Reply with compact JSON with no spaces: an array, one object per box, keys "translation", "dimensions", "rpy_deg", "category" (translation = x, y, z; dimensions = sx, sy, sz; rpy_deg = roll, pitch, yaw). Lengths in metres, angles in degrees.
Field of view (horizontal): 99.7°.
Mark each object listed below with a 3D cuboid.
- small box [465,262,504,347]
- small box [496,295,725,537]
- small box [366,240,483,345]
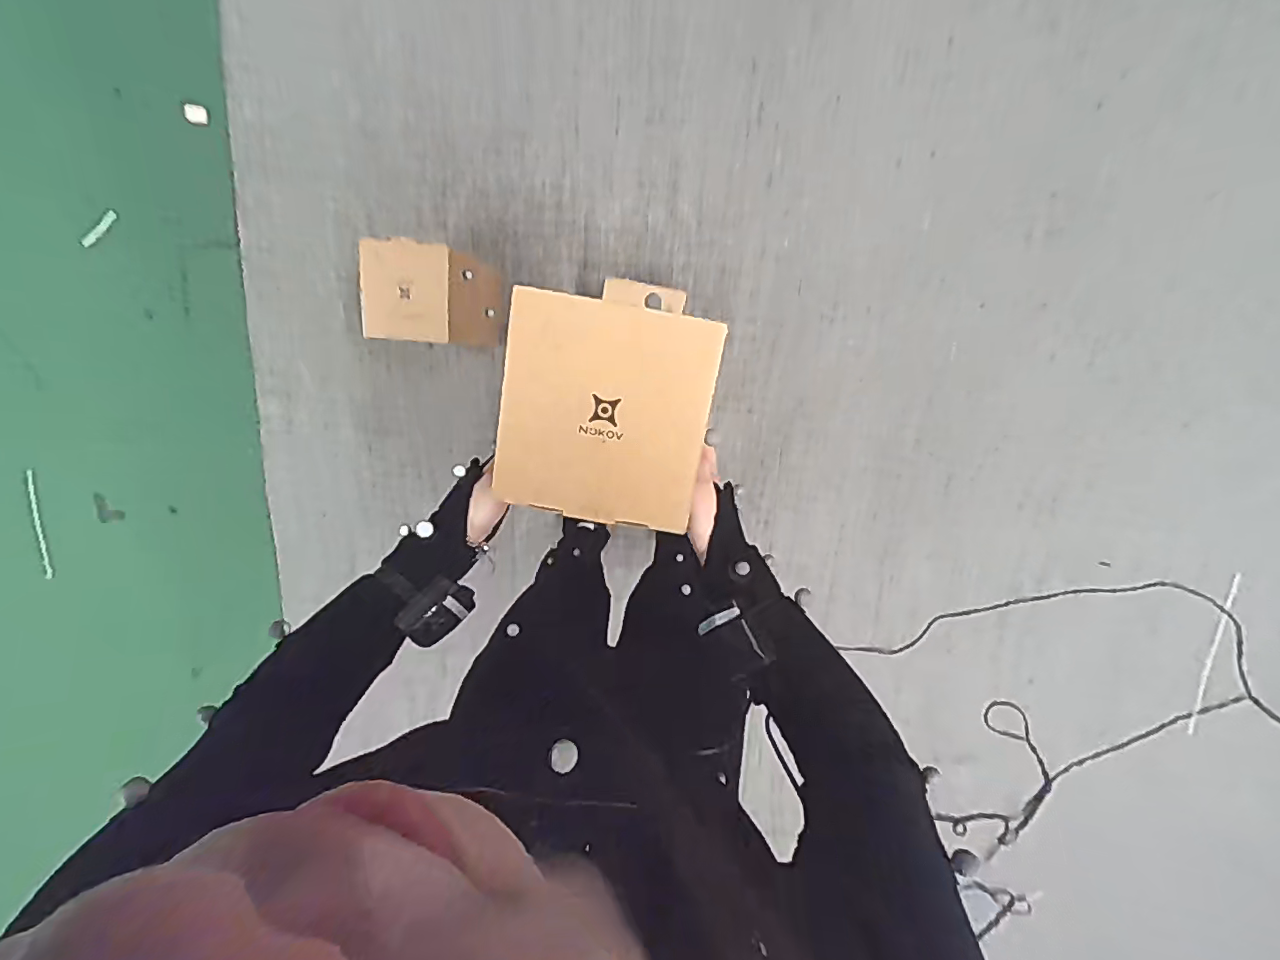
[{"translation":[-0.416,-0.405,1.234],"dimensions":[0.168,0.176,0.179],"rpy_deg":[8,105,1],"category":"small box"},{"translation":[-0.026,-0.069,0.513],"dimensions":[0.168,0.176,0.179],"rpy_deg":[10,107,0],"category":"small box"},{"translation":[-0.420,-0.365,1.076],"dimensions":[0.168,0.176,0.179],"rpy_deg":[5,105,2],"category":"small box"}]
